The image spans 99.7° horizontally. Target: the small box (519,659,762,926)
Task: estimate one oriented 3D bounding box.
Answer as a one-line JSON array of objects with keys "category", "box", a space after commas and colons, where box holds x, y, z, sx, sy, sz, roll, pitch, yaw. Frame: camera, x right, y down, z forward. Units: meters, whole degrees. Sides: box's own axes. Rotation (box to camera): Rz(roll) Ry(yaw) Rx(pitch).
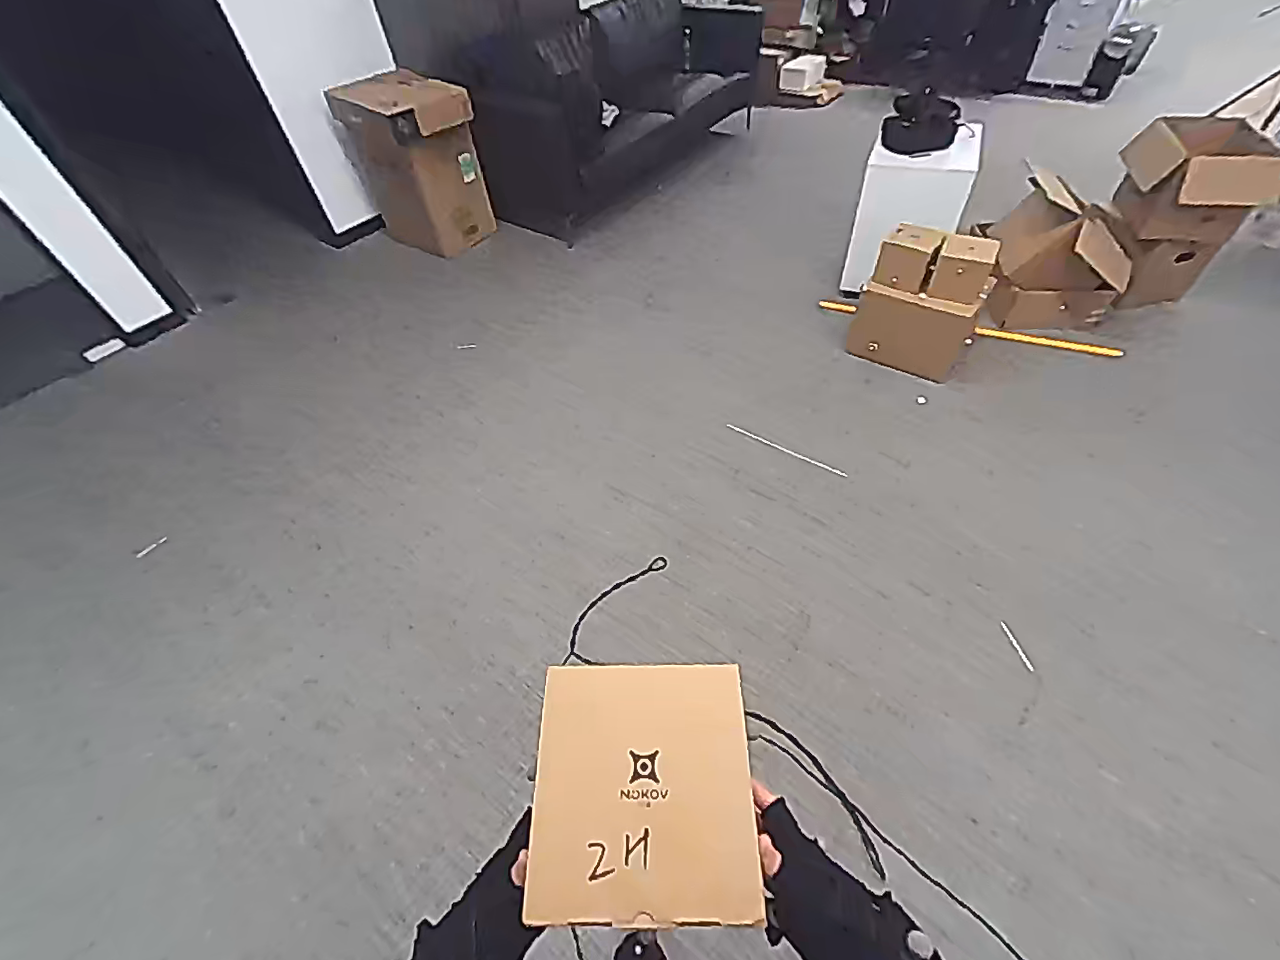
[{"category": "small box", "box": [0.003, 0.271, 0.470, 0.168, 0.176, 0.179, -1, 53, 2]}]
